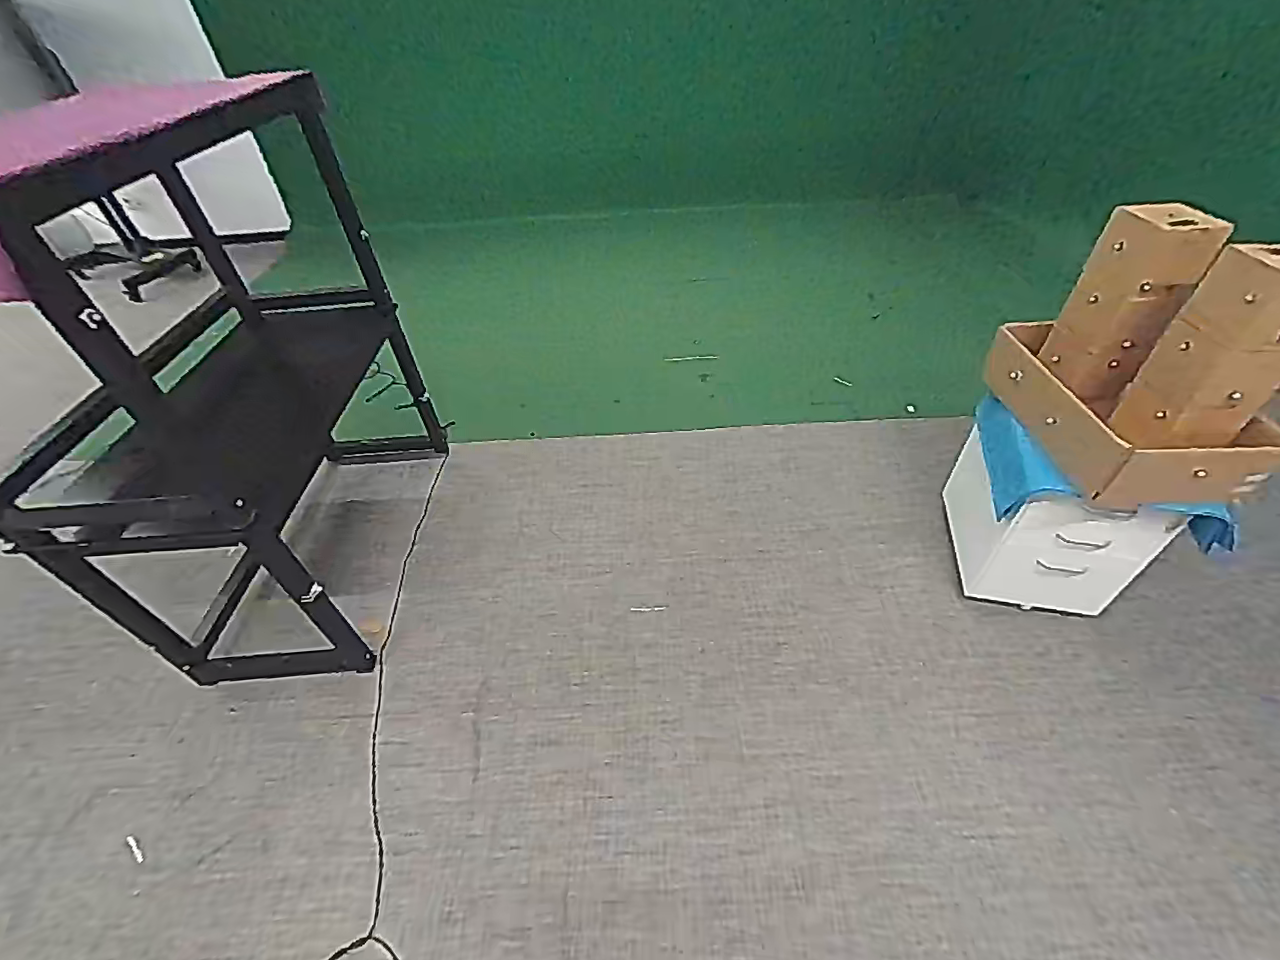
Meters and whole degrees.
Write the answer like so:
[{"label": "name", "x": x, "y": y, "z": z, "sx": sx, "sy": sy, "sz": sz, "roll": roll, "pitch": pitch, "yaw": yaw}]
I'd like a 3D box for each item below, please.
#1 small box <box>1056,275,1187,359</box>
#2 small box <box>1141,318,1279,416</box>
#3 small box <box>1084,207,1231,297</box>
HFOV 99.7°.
[{"label": "small box", "x": 1.299, "y": -0.450, "z": 1.479, "sx": 0.168, "sy": 0.176, "sz": 0.179, "roll": -5, "pitch": 44, "yaw": -3}, {"label": "small box", "x": 1.364, "y": -0.270, "z": 1.284, "sx": 0.168, "sy": 0.176, "sz": 0.179, "roll": 0, "pitch": 43, "yaw": 4}, {"label": "small box", "x": 1.295, "y": -0.574, "z": 1.371, "sx": 0.168, "sy": 0.176, "sz": 0.179, "roll": -3, "pitch": 43, "yaw": 0}]
